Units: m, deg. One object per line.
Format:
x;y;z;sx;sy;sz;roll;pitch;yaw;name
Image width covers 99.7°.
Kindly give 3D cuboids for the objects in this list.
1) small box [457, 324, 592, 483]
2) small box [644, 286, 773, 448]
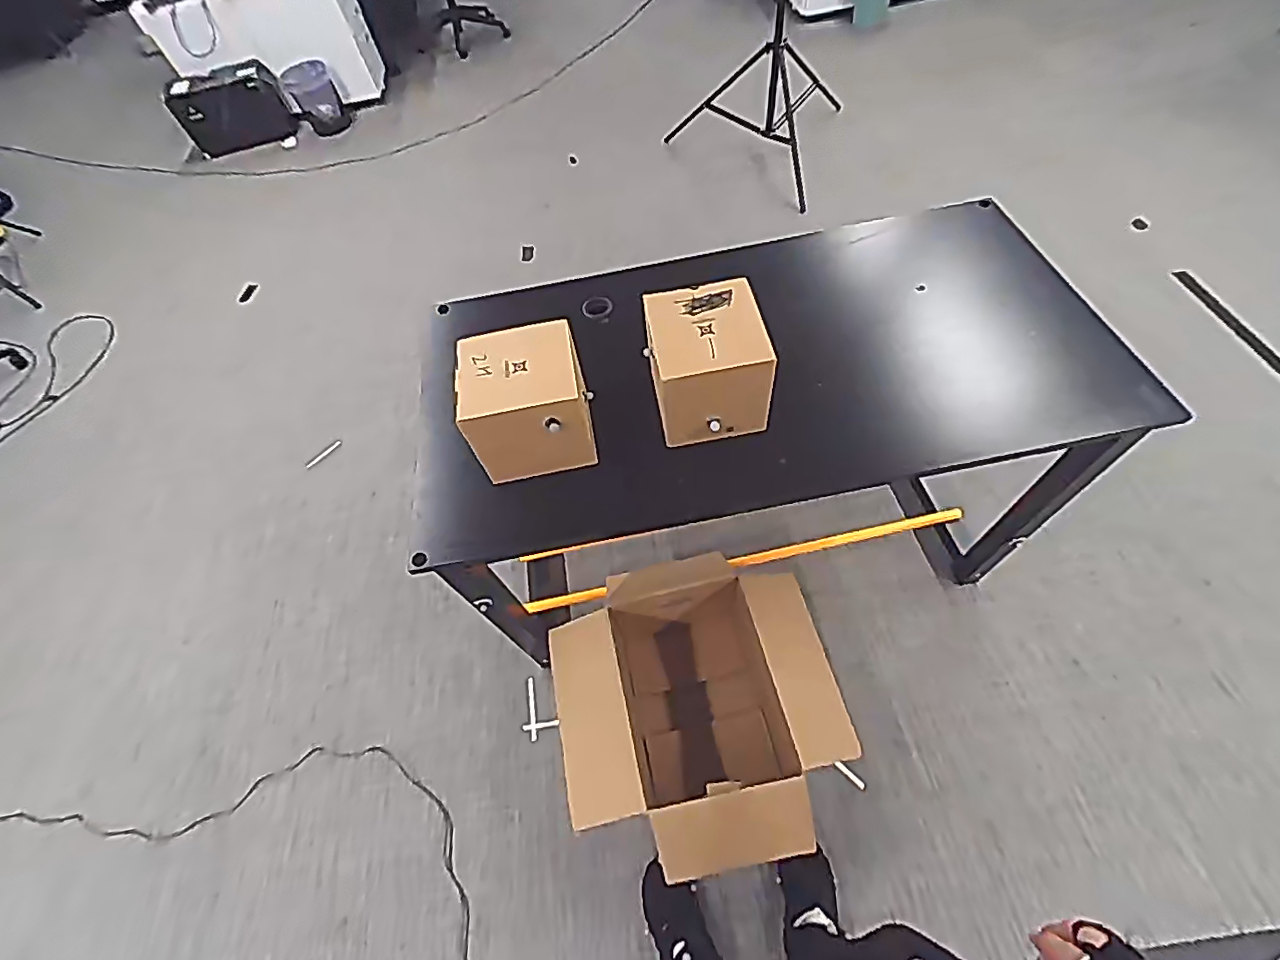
-0.176;-0.117;0.862;0.179;0.176;0.168;-11;57;-1;small box
0.103;-0.177;0.868;0.168;0.176;0.179;-10;58;1;small box
